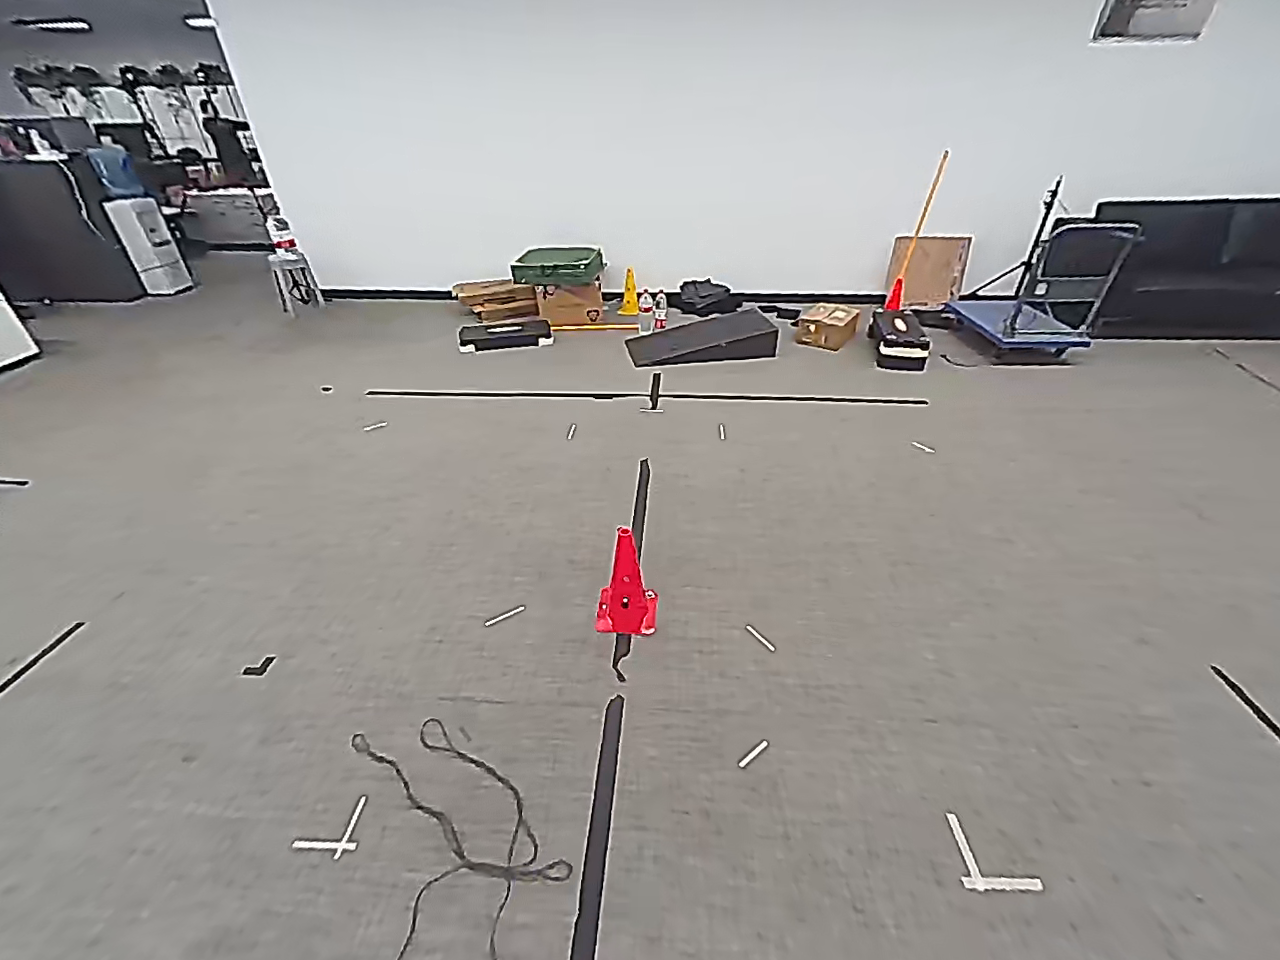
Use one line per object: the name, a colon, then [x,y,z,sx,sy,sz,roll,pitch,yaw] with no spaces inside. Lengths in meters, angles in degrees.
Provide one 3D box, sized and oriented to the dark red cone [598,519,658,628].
dark red cone: [-0.043,0.286,1.747,0.201,0.394,0.202,1,35,4]
